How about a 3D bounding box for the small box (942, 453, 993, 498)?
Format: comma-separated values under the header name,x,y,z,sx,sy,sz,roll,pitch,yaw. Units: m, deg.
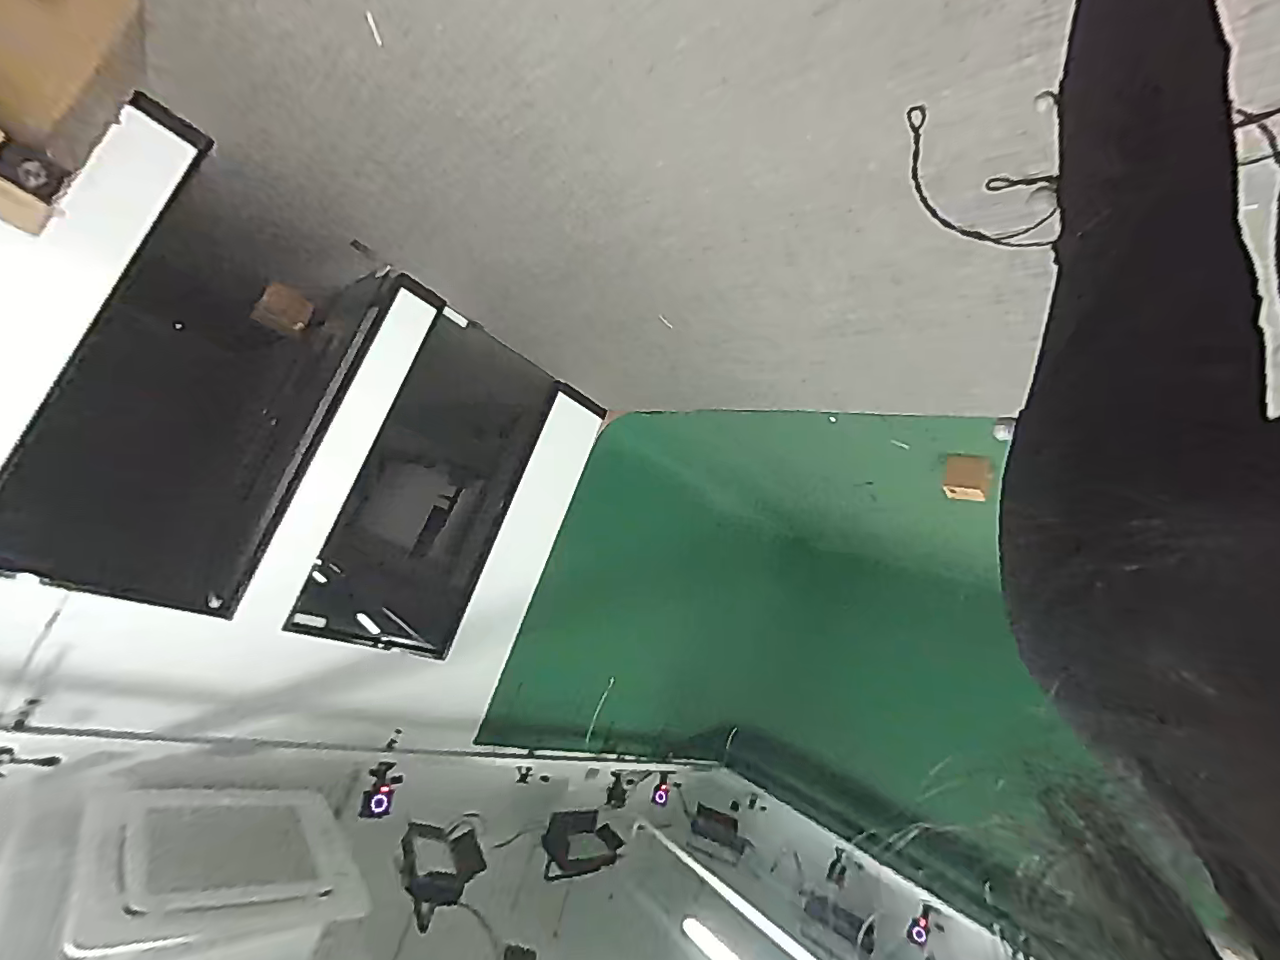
name,x,y,z,sx,sy,sz,roll,pitch,yaw
small box,1.652,-0.028,2.724,0.179,0.176,0.168,9,165,44
